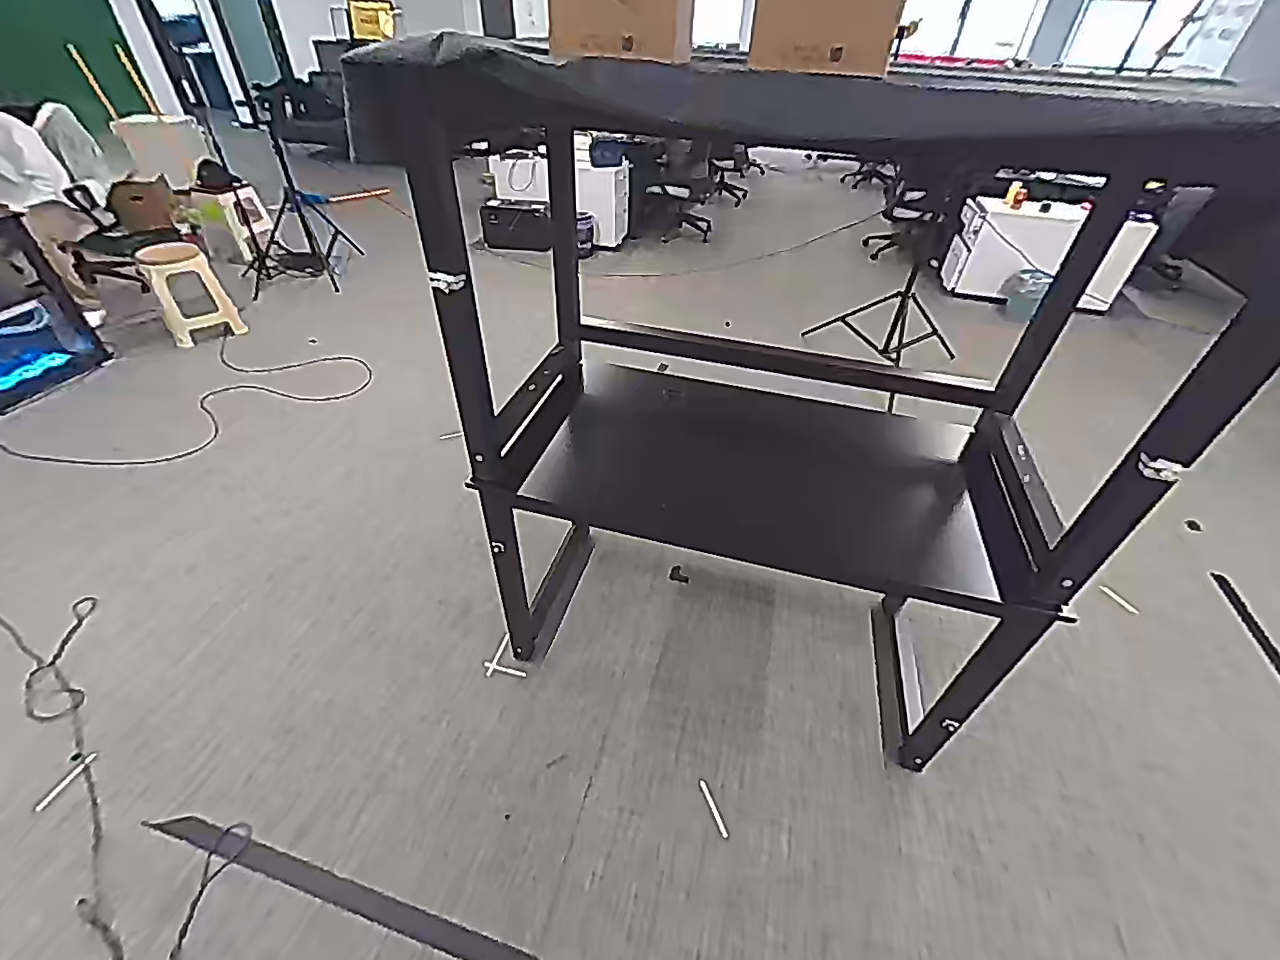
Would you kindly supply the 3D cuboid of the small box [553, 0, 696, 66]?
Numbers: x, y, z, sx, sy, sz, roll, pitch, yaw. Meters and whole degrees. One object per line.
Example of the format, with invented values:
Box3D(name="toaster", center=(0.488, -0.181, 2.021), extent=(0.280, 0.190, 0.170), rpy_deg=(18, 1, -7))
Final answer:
Box3D(name="small box", center=(-0.015, -0.650, 0.704), extent=(0.168, 0.176, 0.179), rpy_deg=(10, 40, 6))
